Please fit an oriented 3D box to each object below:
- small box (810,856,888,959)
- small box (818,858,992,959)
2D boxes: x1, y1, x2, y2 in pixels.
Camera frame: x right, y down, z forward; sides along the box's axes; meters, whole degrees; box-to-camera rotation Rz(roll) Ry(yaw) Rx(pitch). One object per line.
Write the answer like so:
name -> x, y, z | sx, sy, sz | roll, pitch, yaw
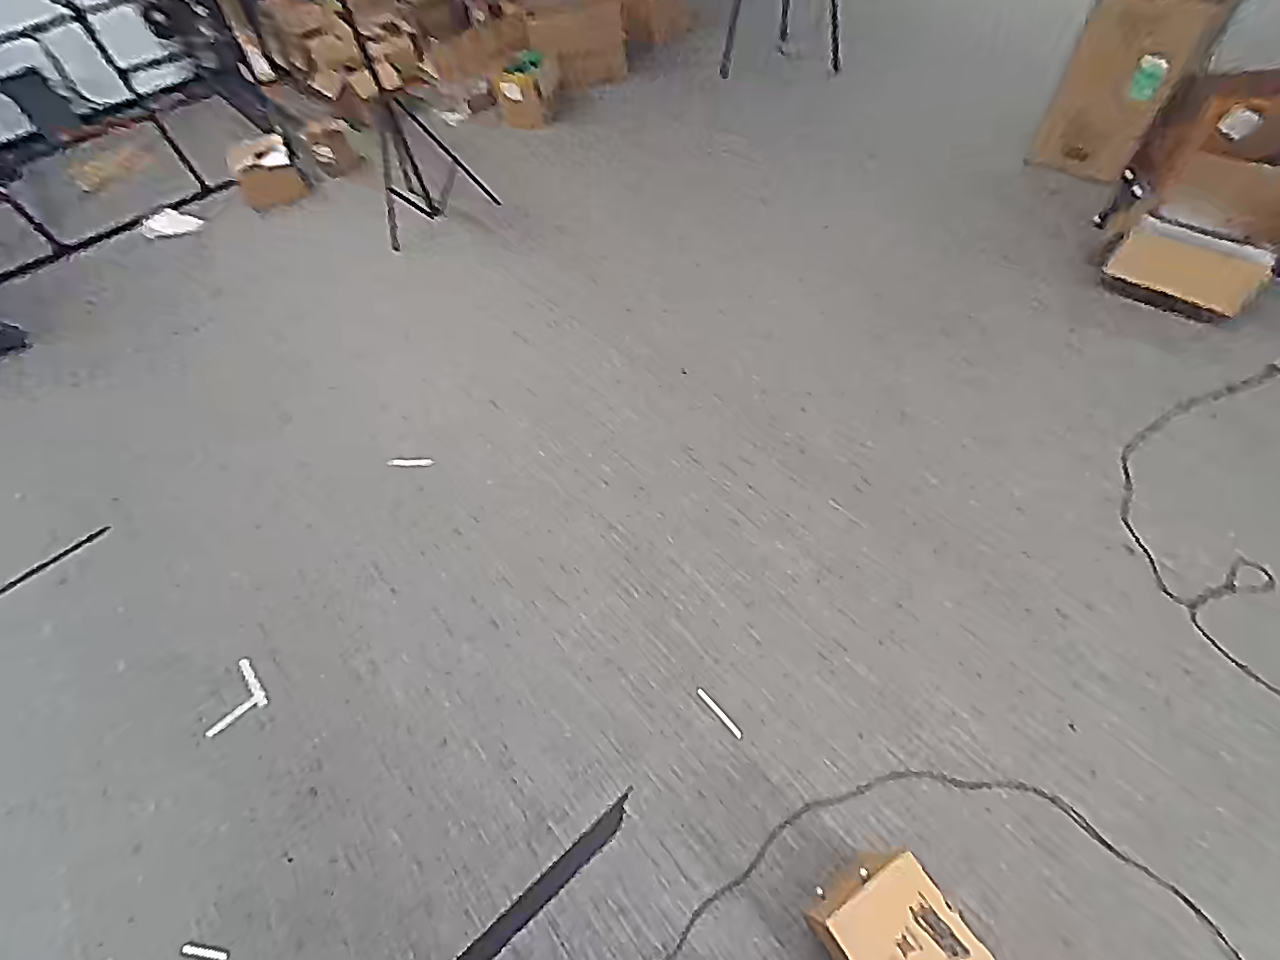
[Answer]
small box -> 0.433, 0.830, 0.992 | 0.179, 0.176, 0.168 | -32, 57, -15
small box -> 0.408, 0.735, 0.859 | 0.179, 0.176, 0.168 | -30, 56, -13
